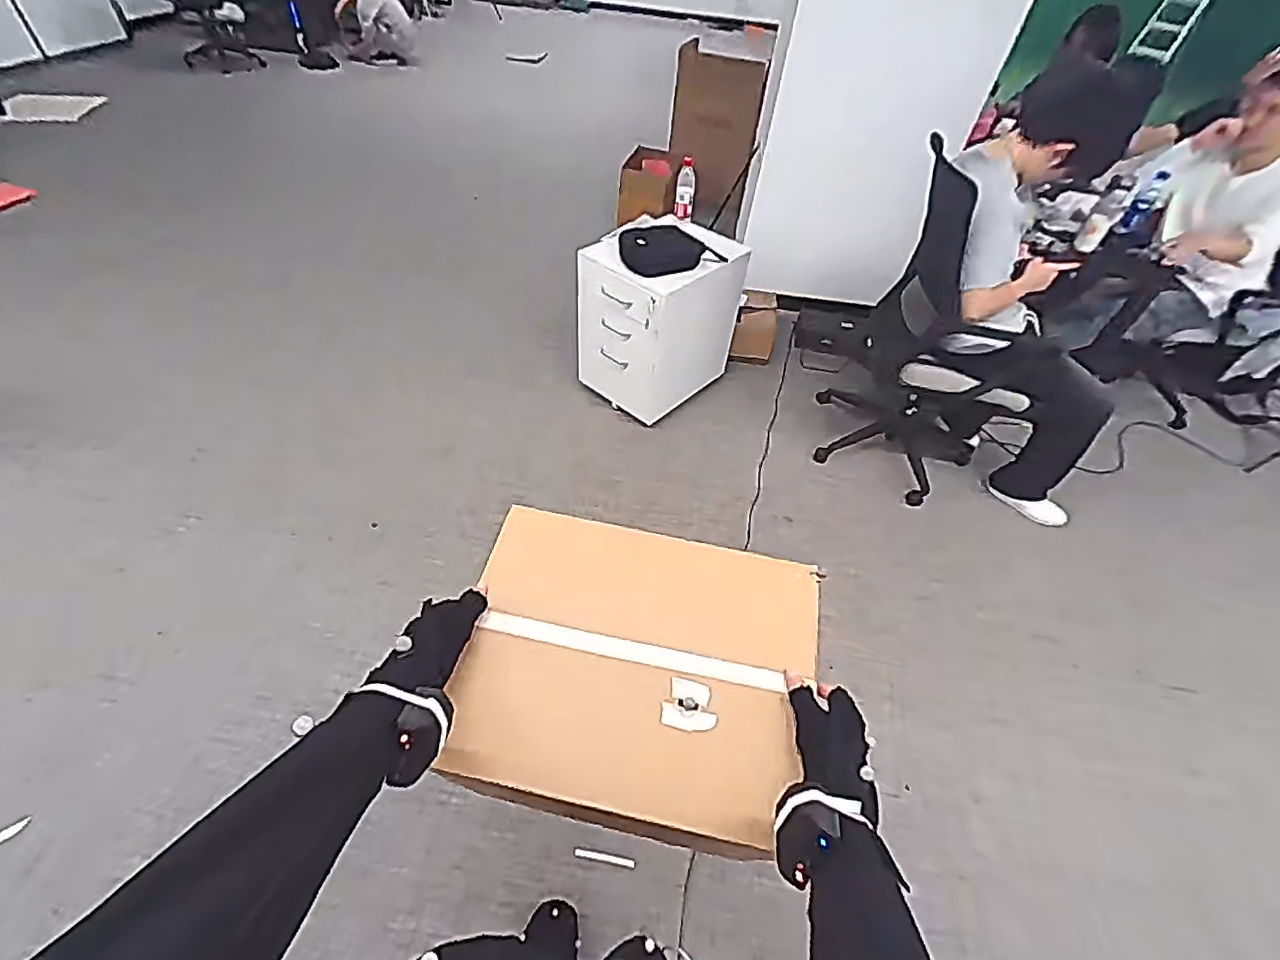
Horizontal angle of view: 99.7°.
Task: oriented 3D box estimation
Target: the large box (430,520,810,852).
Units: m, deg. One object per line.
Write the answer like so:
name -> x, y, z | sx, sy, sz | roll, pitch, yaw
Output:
large box -> -0.010, 0.295, 0.756 | 0.408, 0.320, 0.320 | 11, 56, 4
